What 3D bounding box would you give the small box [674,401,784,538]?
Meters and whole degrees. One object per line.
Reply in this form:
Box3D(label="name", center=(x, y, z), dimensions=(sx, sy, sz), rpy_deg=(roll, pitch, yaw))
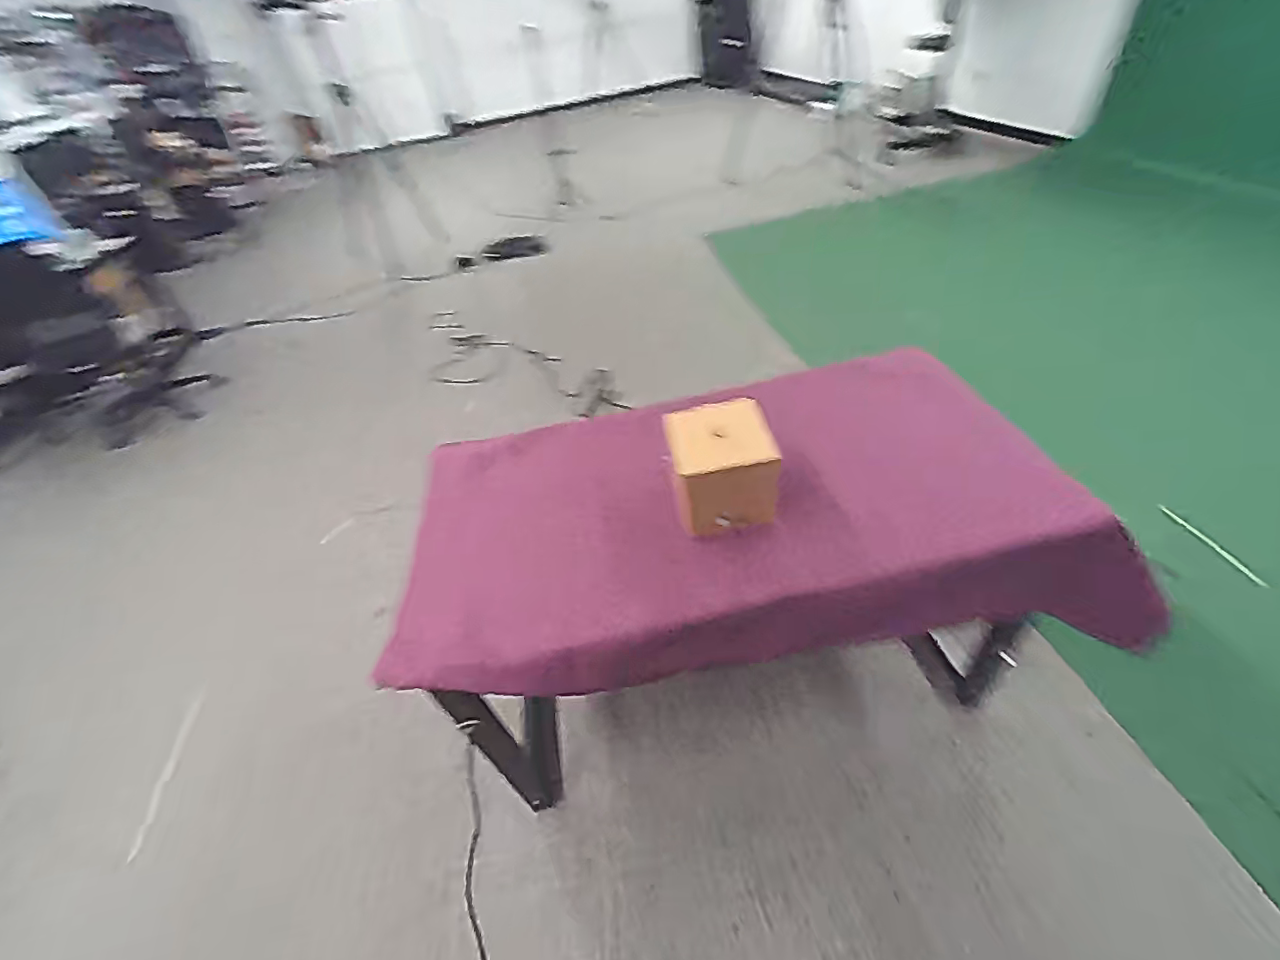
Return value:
Box3D(label="small box", center=(0.161, -0.019, 1.005), dimensions=(0.168, 0.176, 0.179), rpy_deg=(-10, 42, 2))
